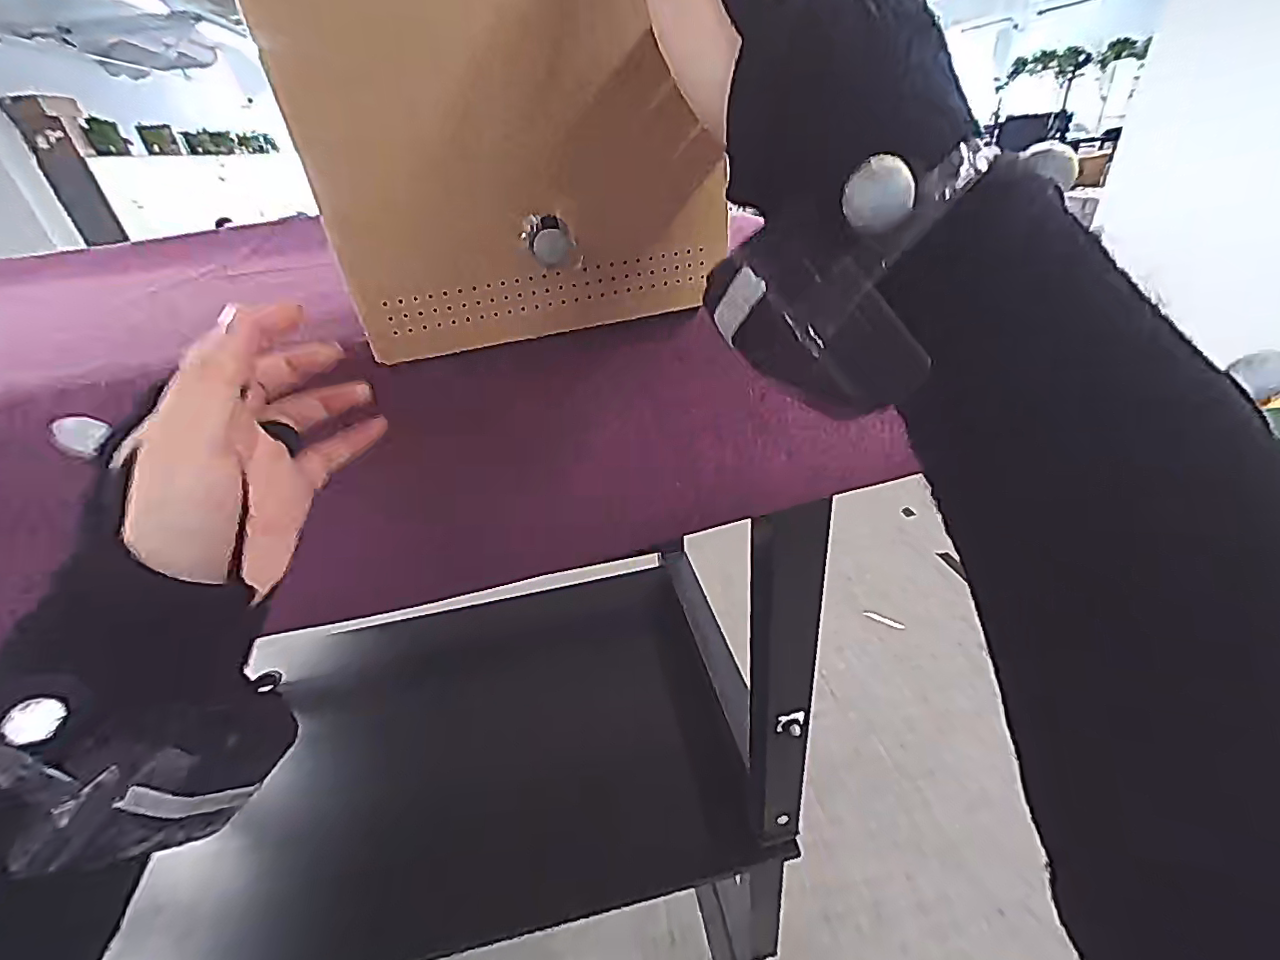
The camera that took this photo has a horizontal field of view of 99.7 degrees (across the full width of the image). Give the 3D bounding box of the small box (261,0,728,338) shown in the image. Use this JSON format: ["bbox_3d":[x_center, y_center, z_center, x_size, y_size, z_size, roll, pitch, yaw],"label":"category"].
[{"bbox_3d":[-0.062,-0.187,0.281,0.179,0.176,0.168,-13,32,-11],"label":"small box"}]
